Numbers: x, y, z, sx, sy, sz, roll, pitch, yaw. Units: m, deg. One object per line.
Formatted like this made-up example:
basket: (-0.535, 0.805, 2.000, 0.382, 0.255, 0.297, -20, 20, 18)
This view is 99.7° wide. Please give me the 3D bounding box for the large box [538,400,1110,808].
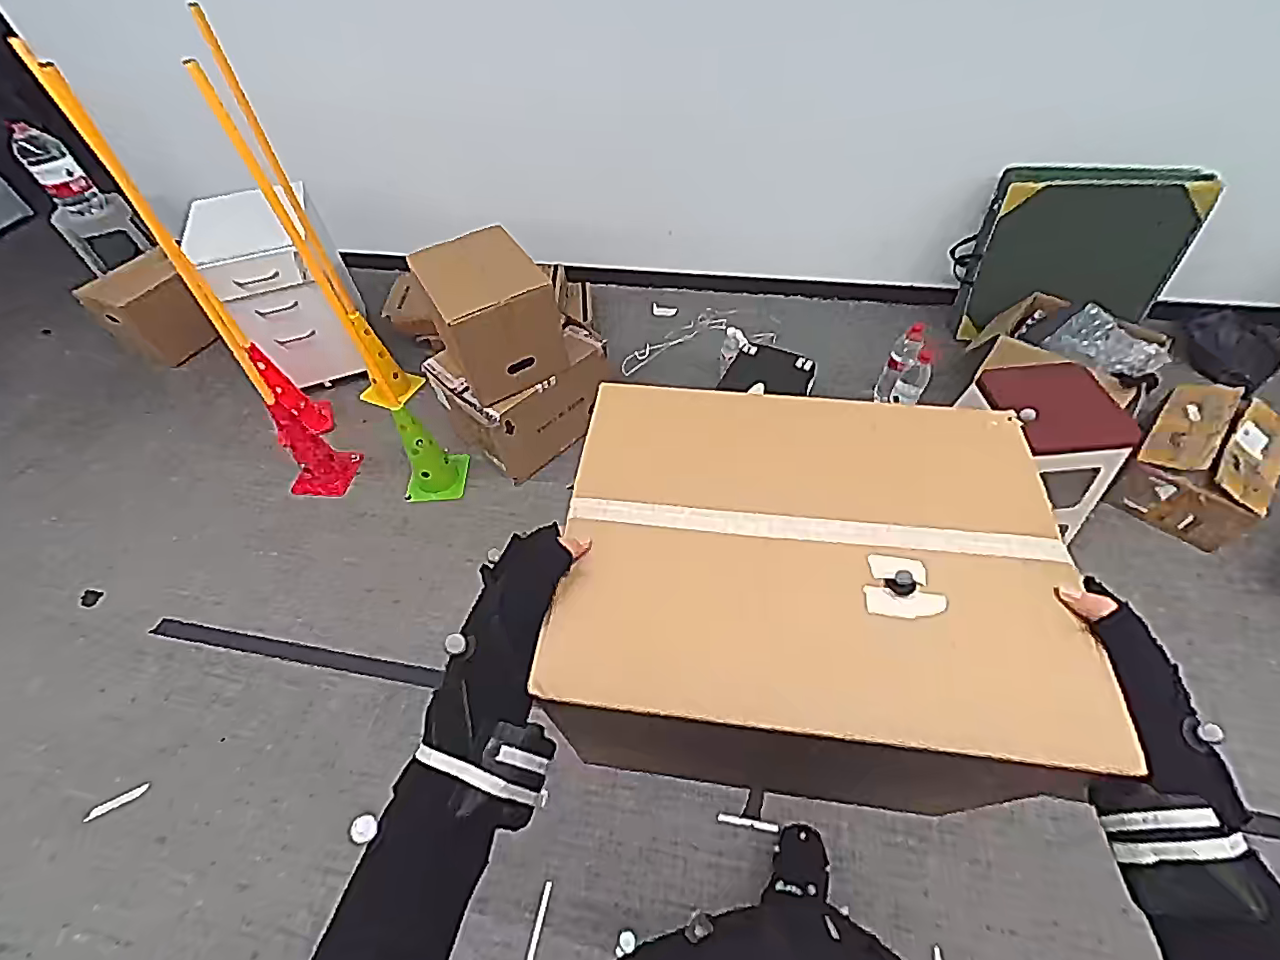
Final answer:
large box: (0.139, 0.139, 0.584, 0.408, 0.320, 0.320, 5, 54, 6)
